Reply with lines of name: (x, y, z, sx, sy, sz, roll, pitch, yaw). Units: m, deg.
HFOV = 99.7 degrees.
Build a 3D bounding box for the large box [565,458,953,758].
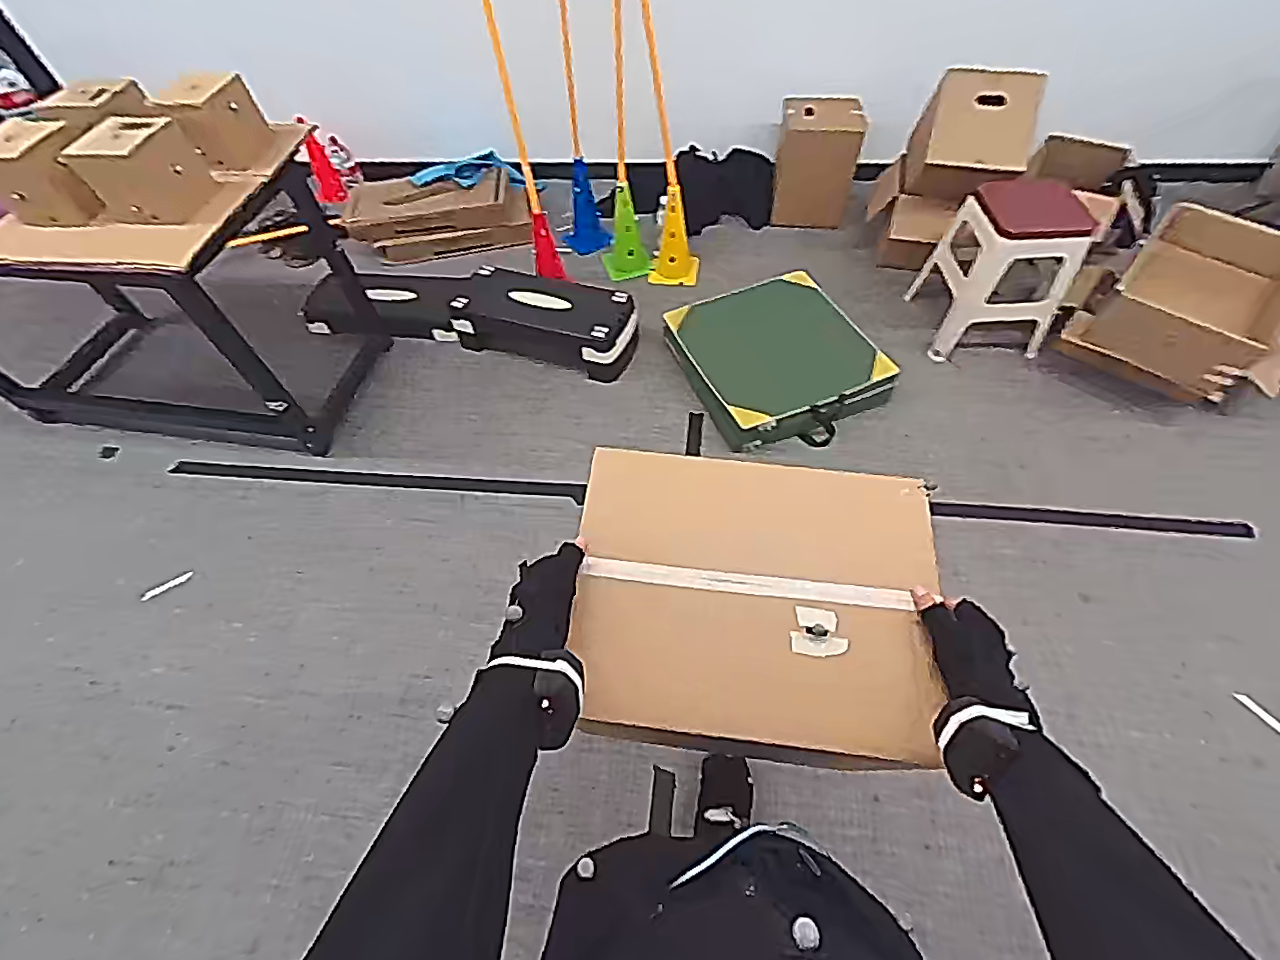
large box: (0.130, 0.191, 0.749, 0.408, 0.320, 0.320, 5, 62, 3)
